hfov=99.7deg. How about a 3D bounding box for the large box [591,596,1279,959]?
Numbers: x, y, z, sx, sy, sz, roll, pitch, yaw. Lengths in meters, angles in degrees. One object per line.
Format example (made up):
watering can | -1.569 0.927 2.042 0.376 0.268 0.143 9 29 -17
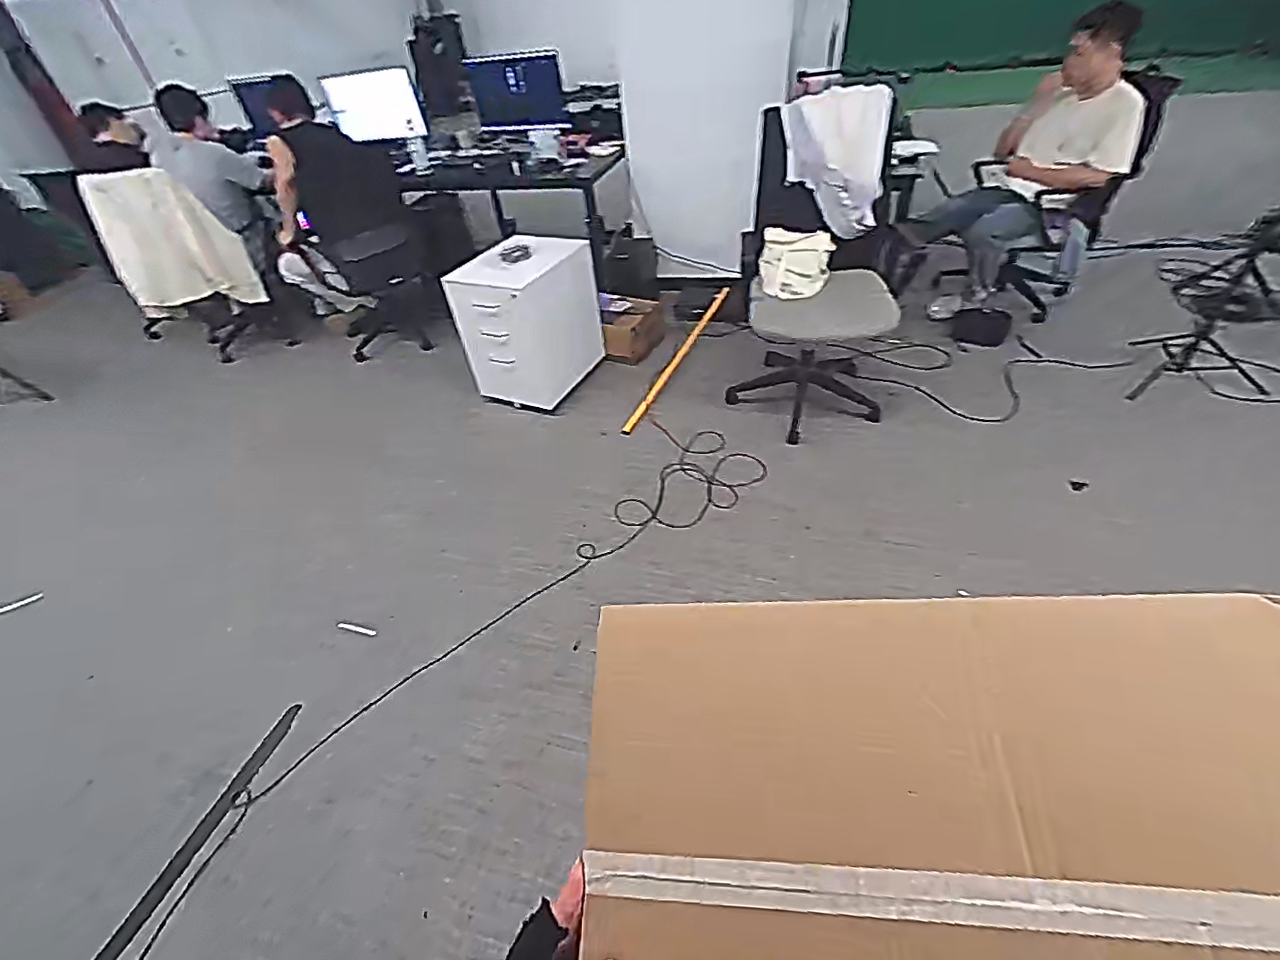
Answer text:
large box | 0.196 0.290 0.415 0.408 0.320 0.320 -4 62 11
